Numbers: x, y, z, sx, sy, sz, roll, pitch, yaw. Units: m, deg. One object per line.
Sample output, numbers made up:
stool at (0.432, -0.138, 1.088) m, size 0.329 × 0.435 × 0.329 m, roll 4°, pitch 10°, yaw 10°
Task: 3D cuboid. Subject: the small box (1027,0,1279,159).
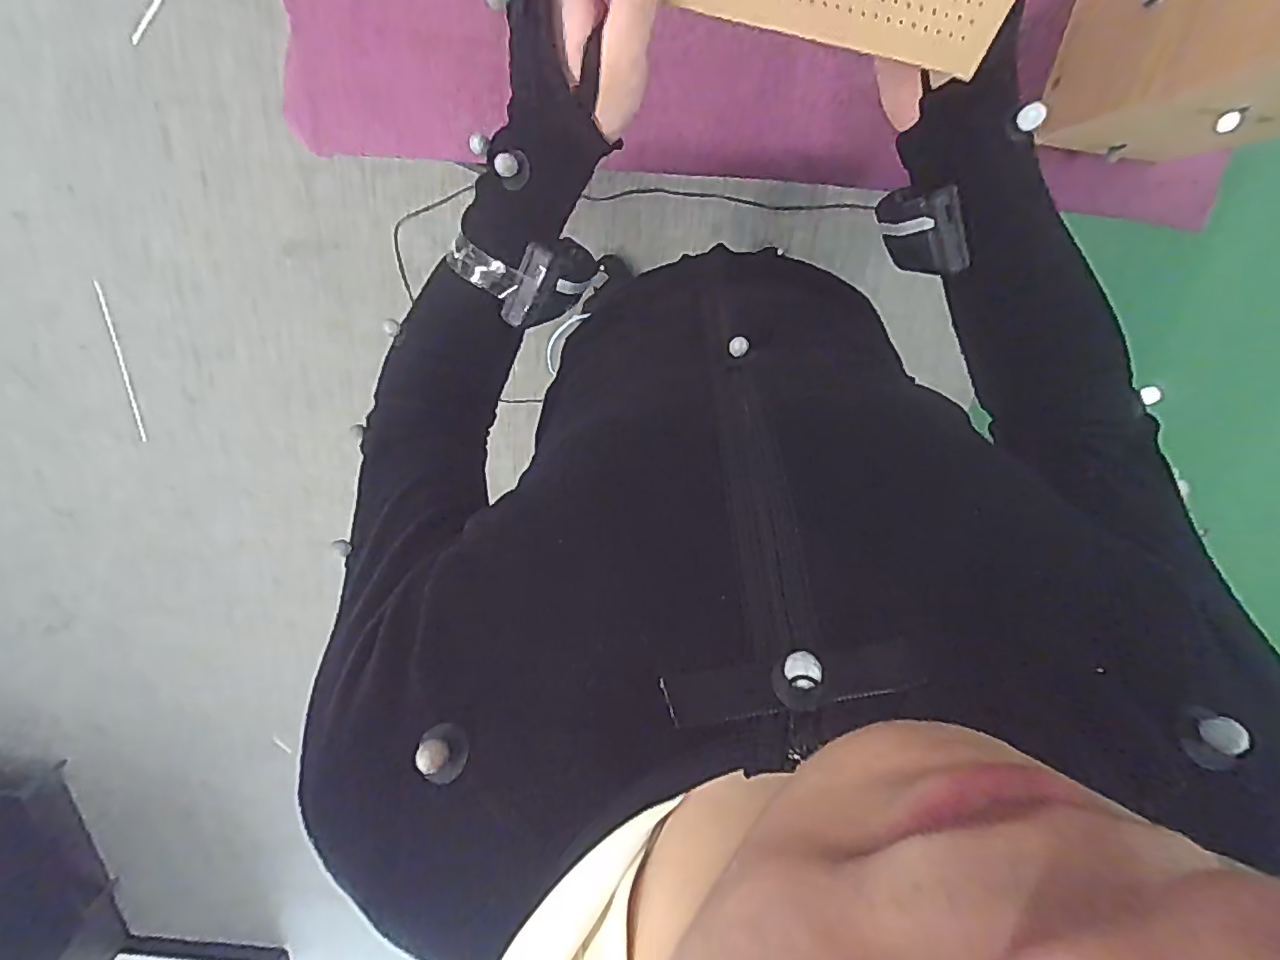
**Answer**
small box at (0.591, -0.472, 0.599) m, size 0.179 × 0.176 × 0.168 m, roll 8°, pitch 111°, yaw -1°
